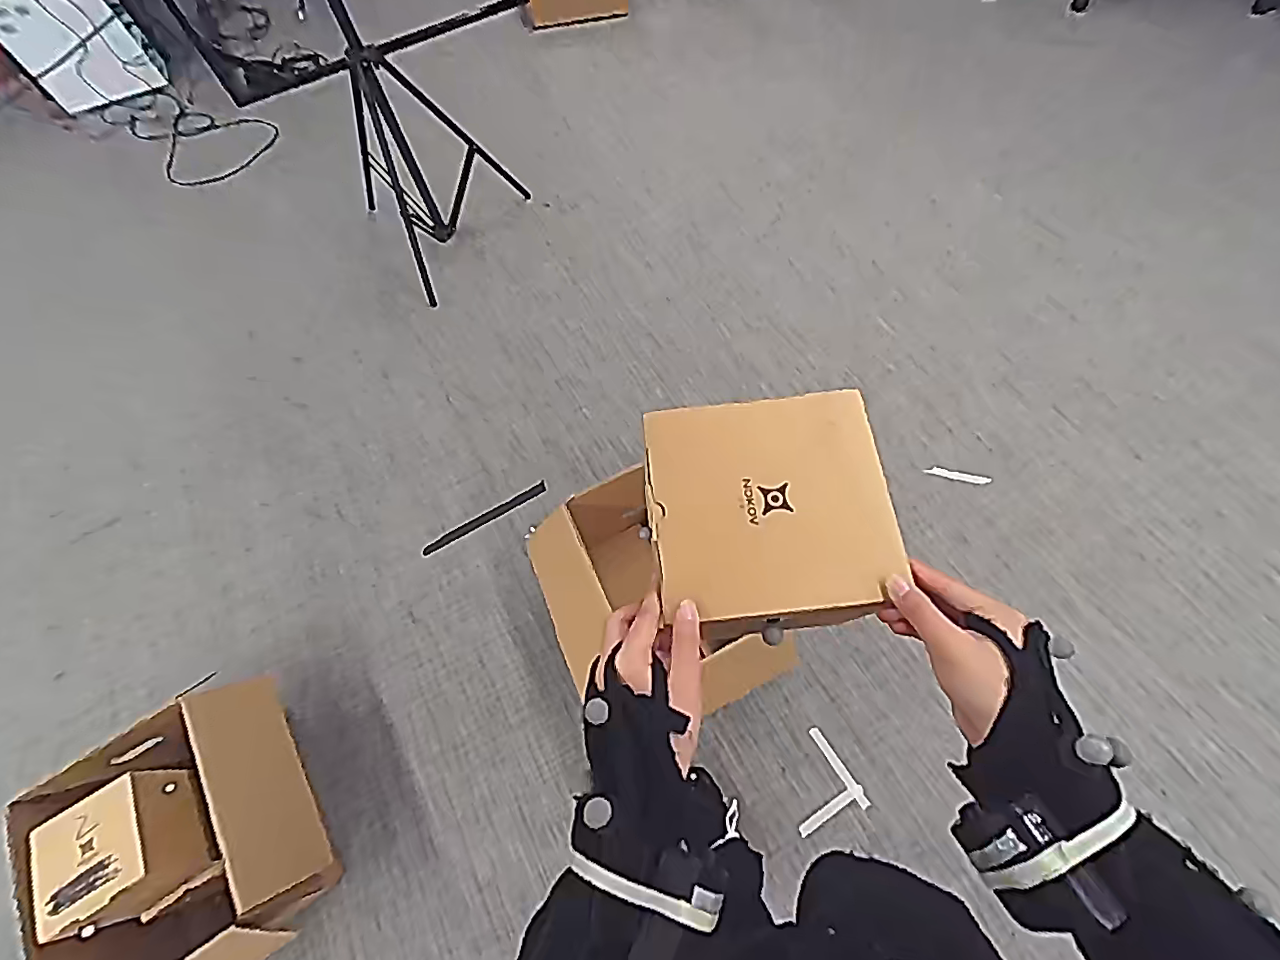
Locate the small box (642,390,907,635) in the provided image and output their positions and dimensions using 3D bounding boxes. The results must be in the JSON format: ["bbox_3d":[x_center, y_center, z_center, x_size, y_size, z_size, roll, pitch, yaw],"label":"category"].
[{"bbox_3d":[0.097,0.040,0.478,0.179,0.176,0.168,-7,69,0],"label":"small box"}]
